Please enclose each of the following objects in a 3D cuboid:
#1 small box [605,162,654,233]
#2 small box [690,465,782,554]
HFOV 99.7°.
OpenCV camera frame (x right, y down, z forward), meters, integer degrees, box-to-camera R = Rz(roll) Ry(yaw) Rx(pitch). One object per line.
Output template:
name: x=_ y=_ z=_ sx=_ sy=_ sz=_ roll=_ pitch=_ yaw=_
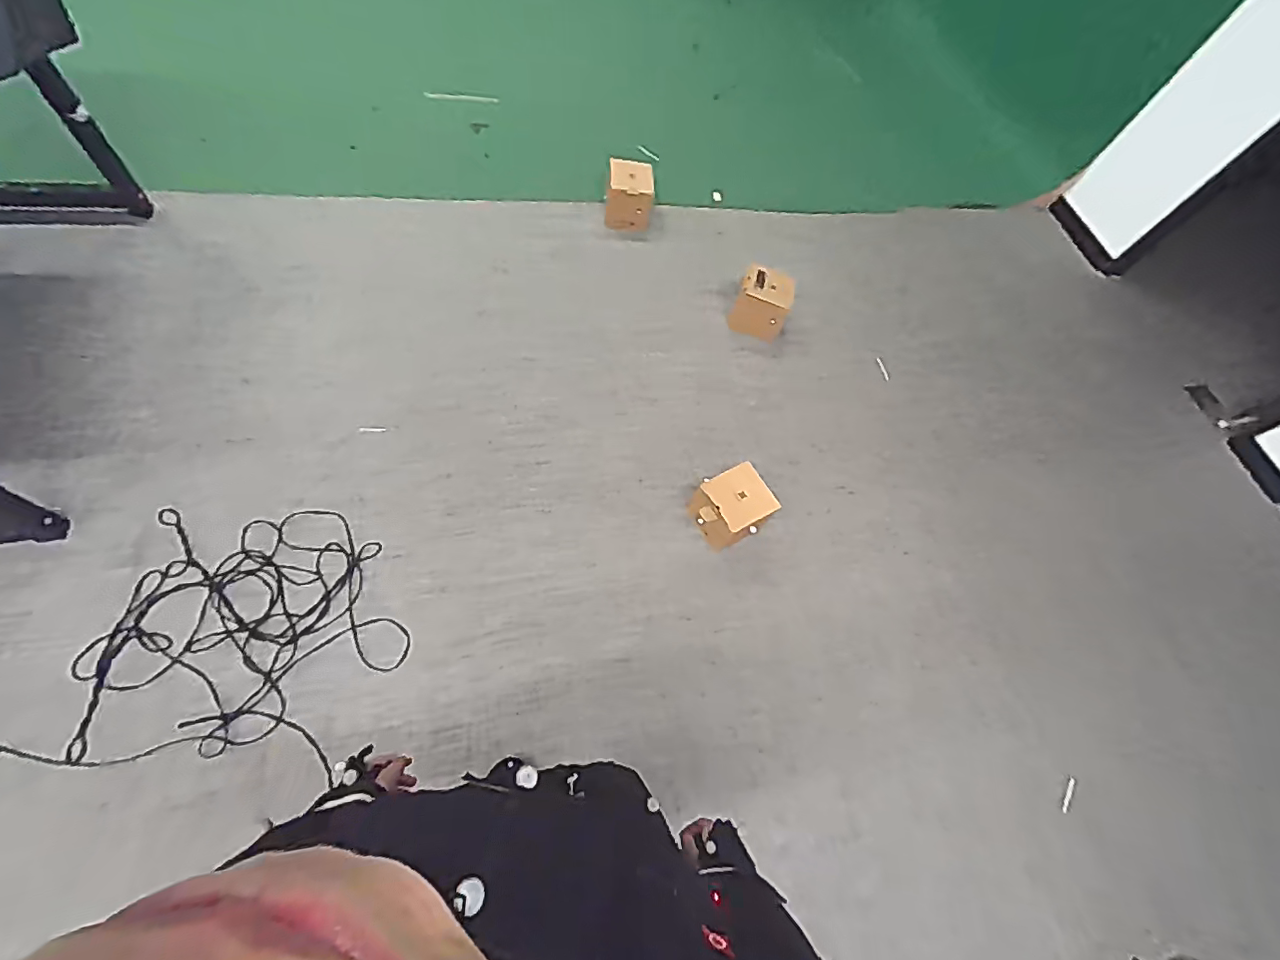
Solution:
small box: x=-0.044 y=-1.095 z=2.106 sx=0.168 sy=0.176 sz=0.179 roll=2 pitch=62 yaw=-12
small box: x=0.269 y=0.088 z=1.566 sx=0.179 sy=0.176 sz=0.168 roll=-25 pitch=71 yaw=-21
